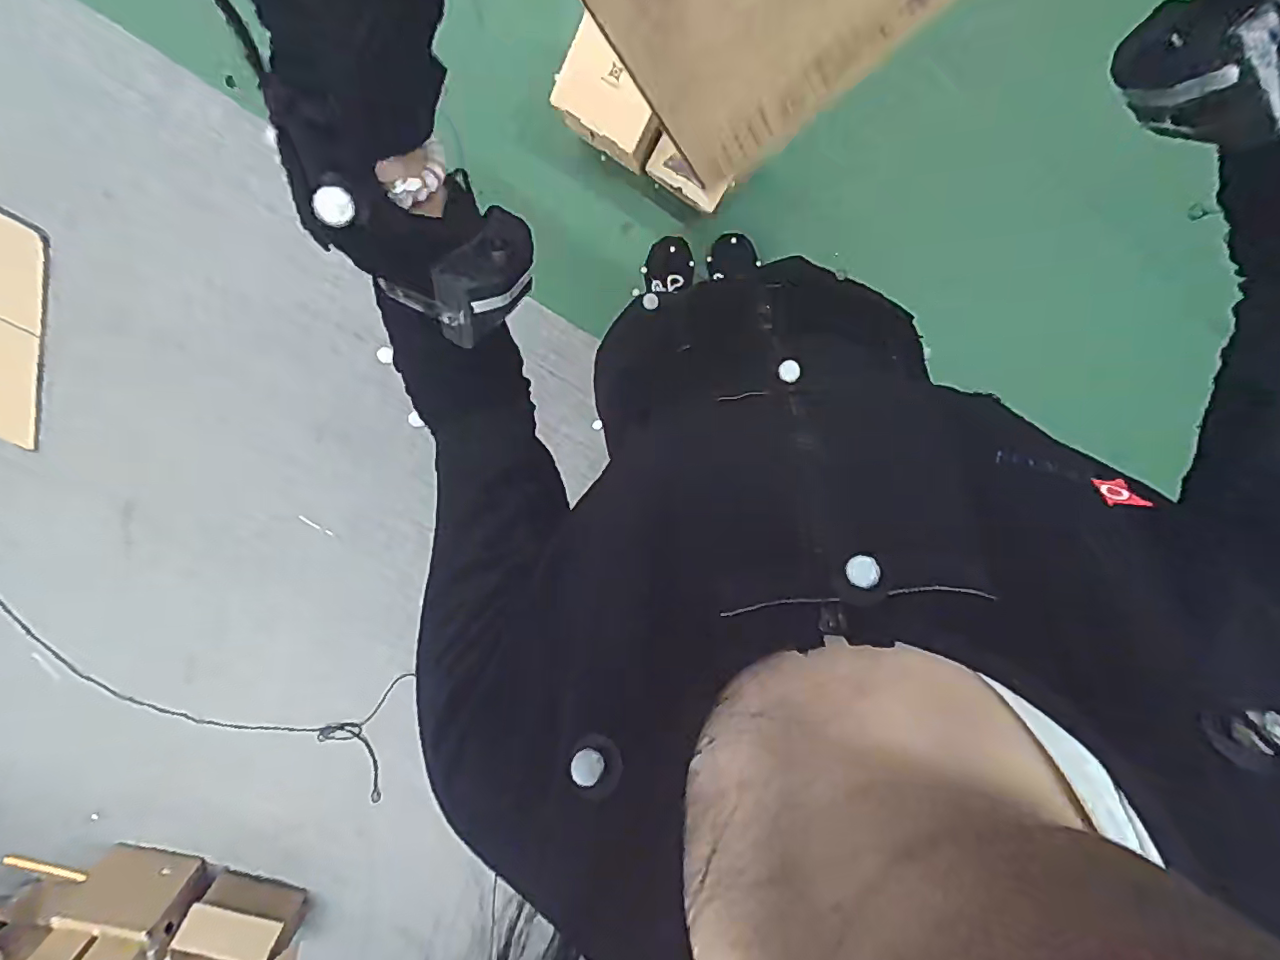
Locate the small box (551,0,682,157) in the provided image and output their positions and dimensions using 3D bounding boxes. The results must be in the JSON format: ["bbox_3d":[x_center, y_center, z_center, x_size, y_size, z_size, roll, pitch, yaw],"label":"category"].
[{"bbox_3d":[-0.039,-0.719,0.975,0.168,0.176,0.179,27,114,-10],"label":"small box"}]
